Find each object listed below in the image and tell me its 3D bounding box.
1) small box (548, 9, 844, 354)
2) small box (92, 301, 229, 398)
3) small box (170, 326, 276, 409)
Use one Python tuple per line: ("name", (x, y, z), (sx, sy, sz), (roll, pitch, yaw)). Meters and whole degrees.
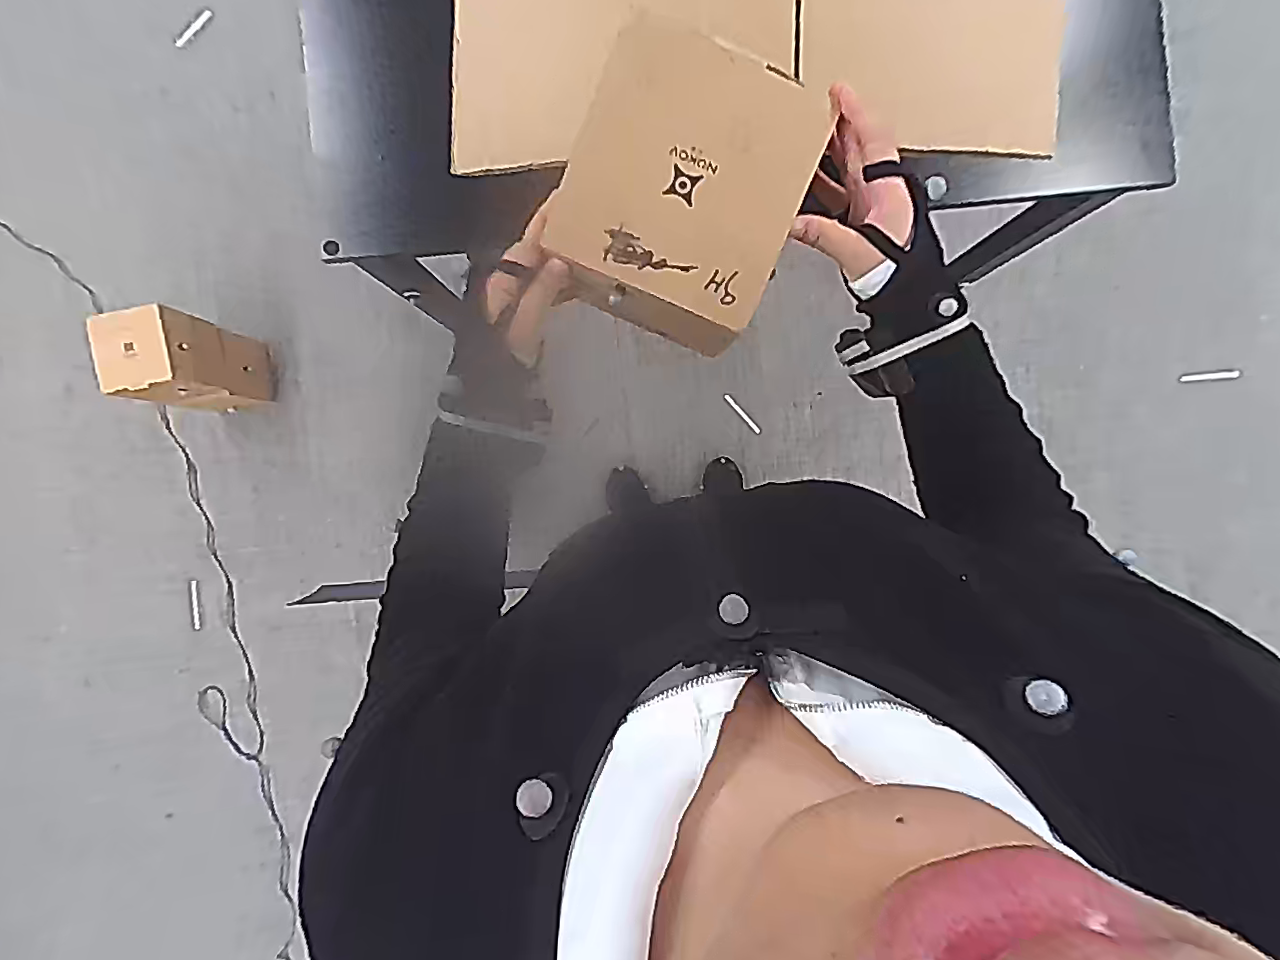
("small box", (0.039, -0.228, 0.467), (0.168, 0.176, 0.179), (23, 96, -1))
("small box", (-1.116, -0.297, 1.275), (0.168, 0.176, 0.179), (-12, 89, 0))
("small box", (-1.111, -0.293, 1.437), (0.168, 0.176, 0.179), (-8, 91, 1))
